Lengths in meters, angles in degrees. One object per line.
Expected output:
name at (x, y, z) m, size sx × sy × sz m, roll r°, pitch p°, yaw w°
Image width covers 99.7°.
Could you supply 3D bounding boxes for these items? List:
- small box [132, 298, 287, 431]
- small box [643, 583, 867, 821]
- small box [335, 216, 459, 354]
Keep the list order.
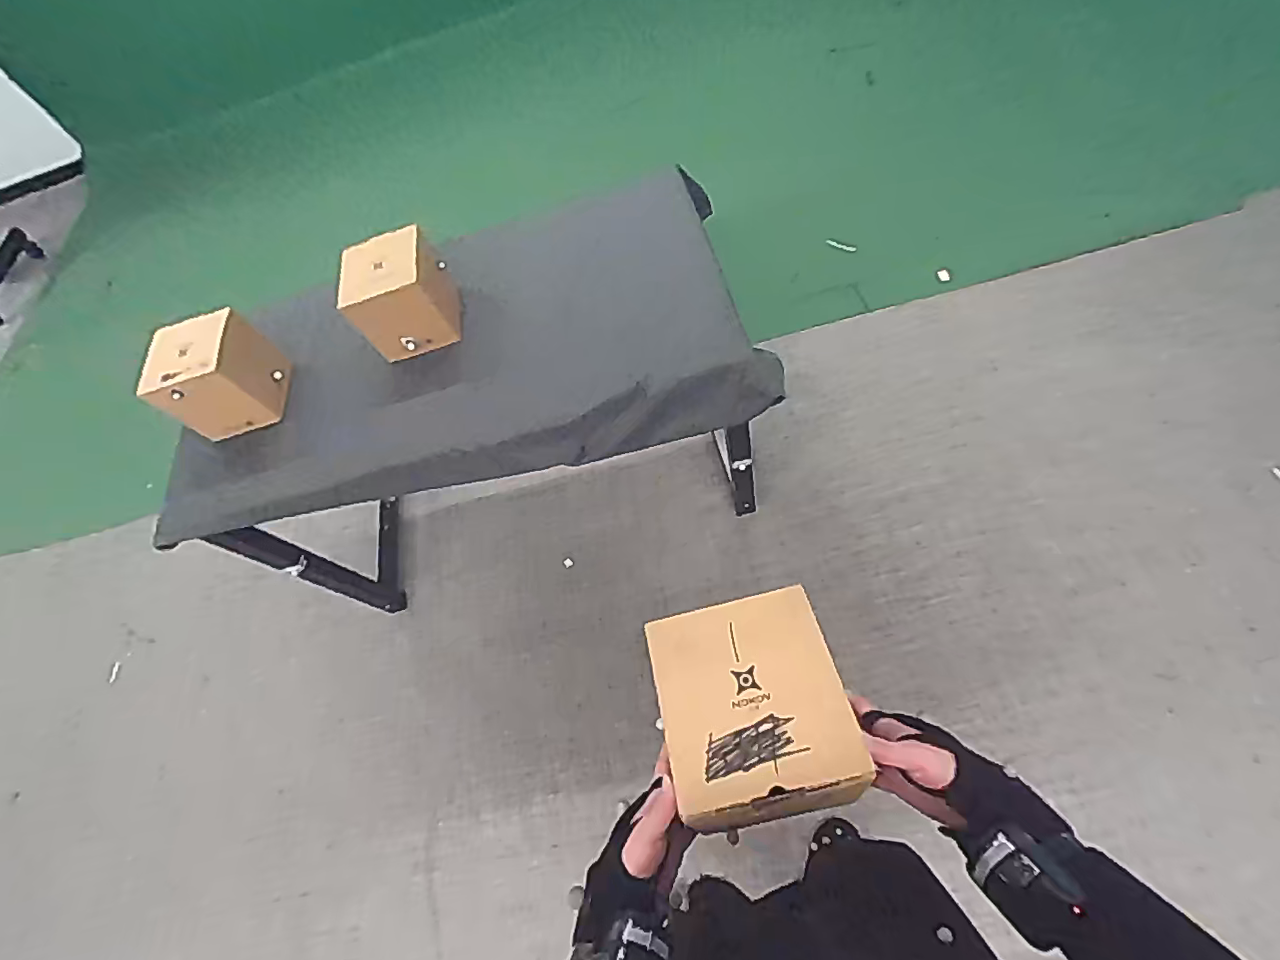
small box at (-0.861, -0.230, 1.102) m, size 0.168 × 0.176 × 0.179 m, roll -16°, pitch 60°, yaw 5°
small box at (0.111, 0.235, 0.555) m, size 0.168 × 0.176 × 0.179 m, roll -14°, pitch 52°, yaw 3°
small box at (-0.486, -0.391, 1.102) m, size 0.168 × 0.176 × 0.179 m, roll -17°, pitch 62°, yaw 5°
